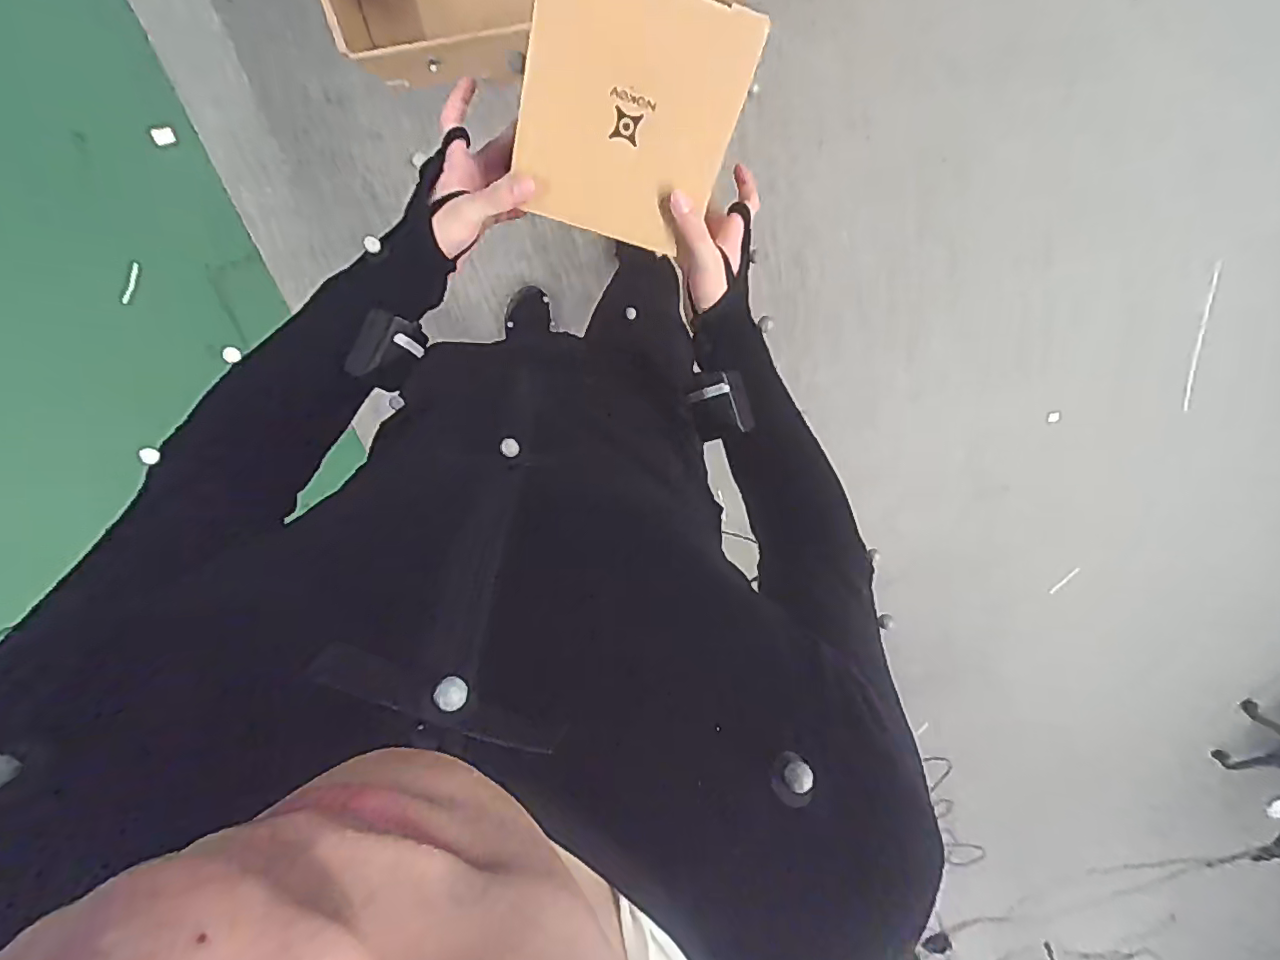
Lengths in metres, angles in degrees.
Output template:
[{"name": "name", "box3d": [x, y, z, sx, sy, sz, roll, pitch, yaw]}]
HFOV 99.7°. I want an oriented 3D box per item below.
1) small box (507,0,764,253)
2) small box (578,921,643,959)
[{"name": "small box", "box3d": [-0.012, -0.335, 0.483, 0.168, 0.176, 0.179, 12, 126, -11]}, {"name": "small box", "box3d": [-0.081, 1.422, 1.564, 0.168, 0.176, 0.179, -14, 119, 1]}]
